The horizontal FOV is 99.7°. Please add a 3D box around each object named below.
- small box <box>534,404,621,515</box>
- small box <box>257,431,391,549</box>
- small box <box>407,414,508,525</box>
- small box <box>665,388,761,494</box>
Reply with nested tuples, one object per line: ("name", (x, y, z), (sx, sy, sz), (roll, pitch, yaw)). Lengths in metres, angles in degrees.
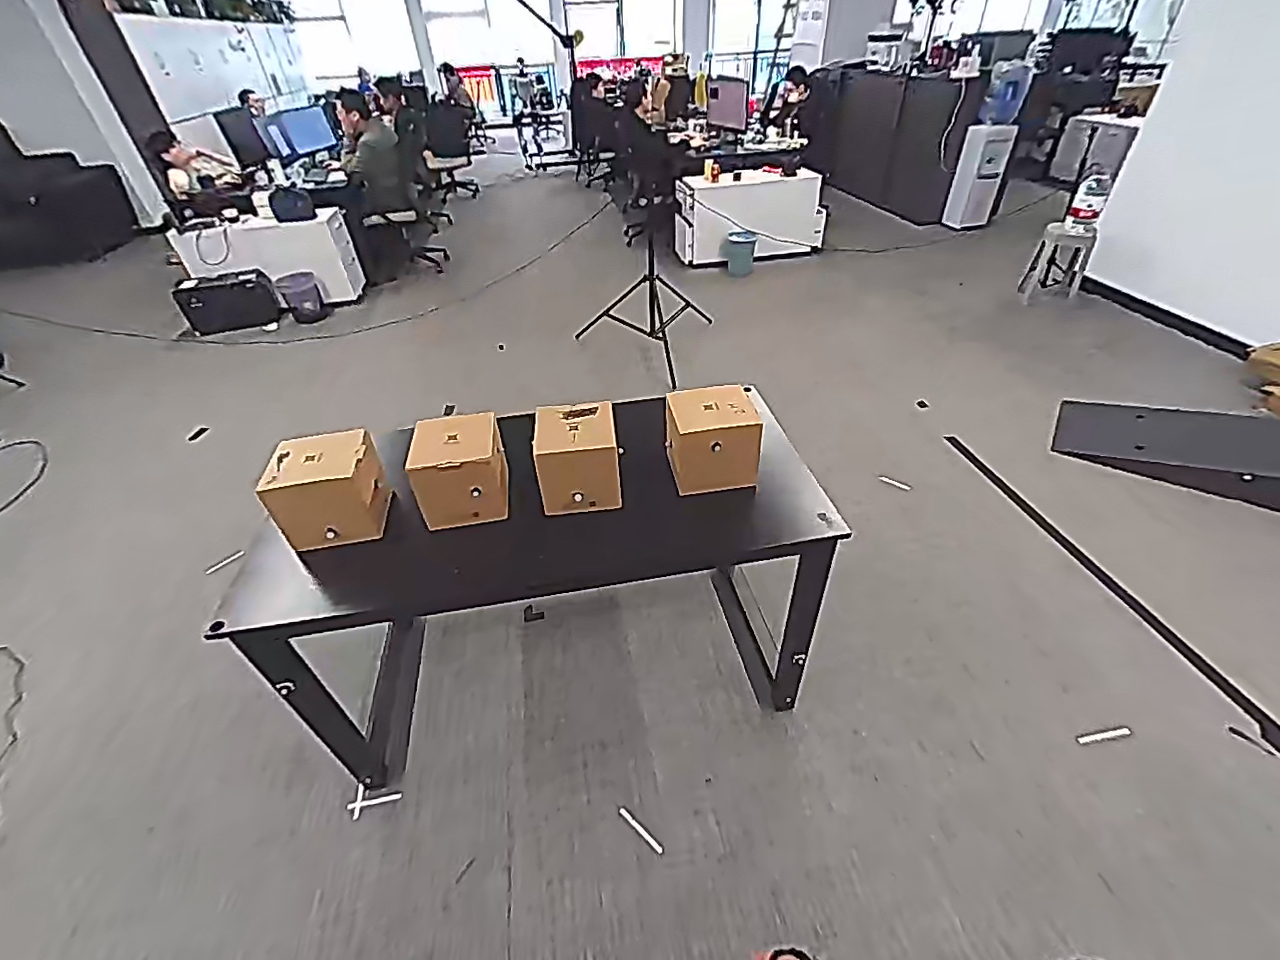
("small box", (-0.132, -0.045, 1.173), (0.168, 0.176, 0.179), (-5, 40, -3))
("small box", (-0.636, 0.021, 1.118), (0.179, 0.176, 0.168), (-9, 39, -8))
("small box", (-0.380, -0.018, 1.156), (0.168, 0.176, 0.179), (-8, 39, -7))
("small box", (0.156, -0.084, 1.202), (0.179, 0.176, 0.168), (-7, 40, -5))
